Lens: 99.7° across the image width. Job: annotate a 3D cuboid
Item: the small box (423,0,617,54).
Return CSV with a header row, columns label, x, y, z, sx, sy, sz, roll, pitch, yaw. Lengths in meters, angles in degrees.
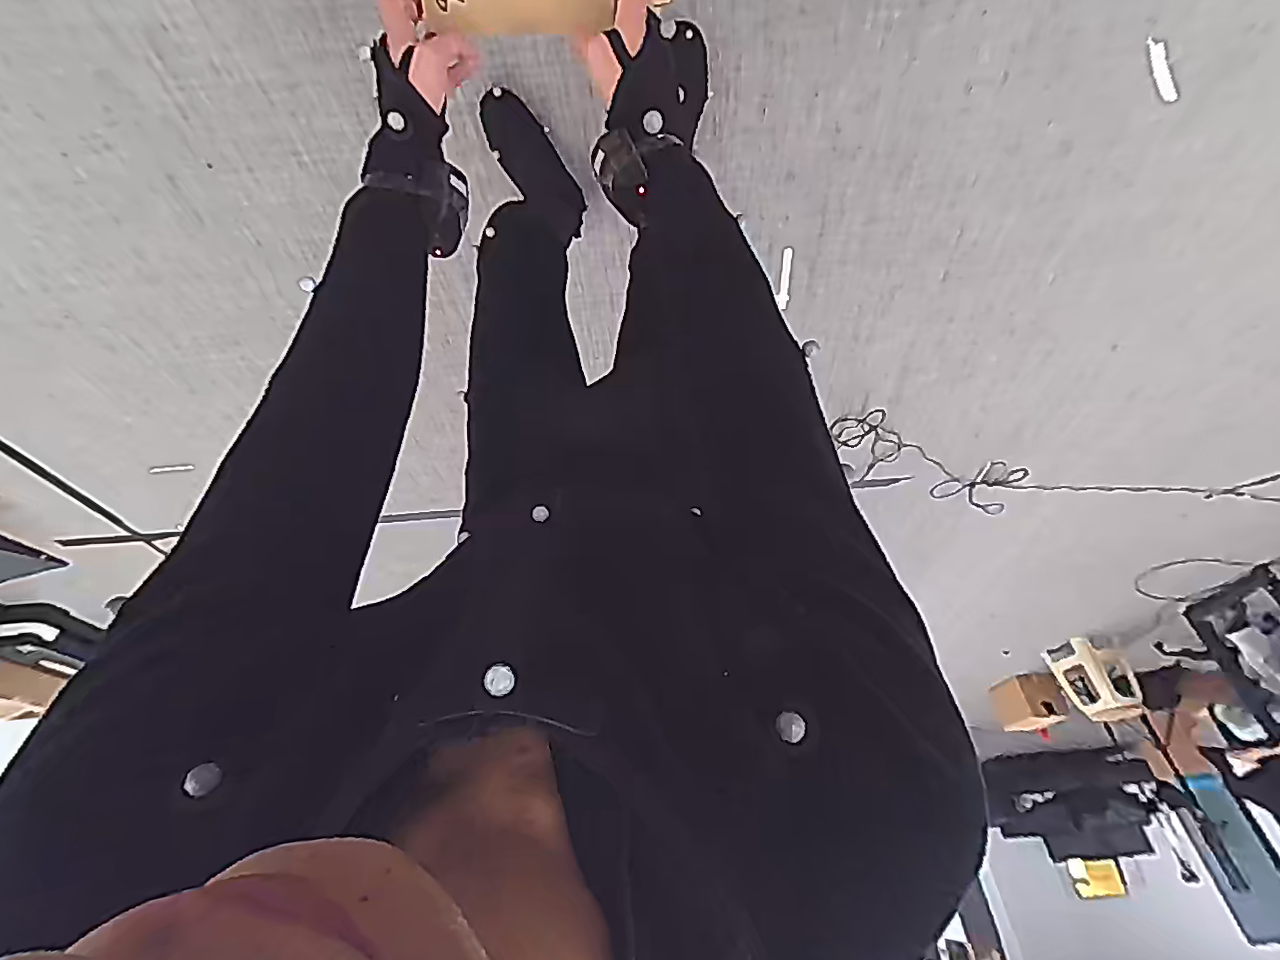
label,x,y,z,sx,sy,sz,roll,pitch,yaw
small box,-0.109,-0.523,0.502,0.179,0.176,0.168,0,141,-1
